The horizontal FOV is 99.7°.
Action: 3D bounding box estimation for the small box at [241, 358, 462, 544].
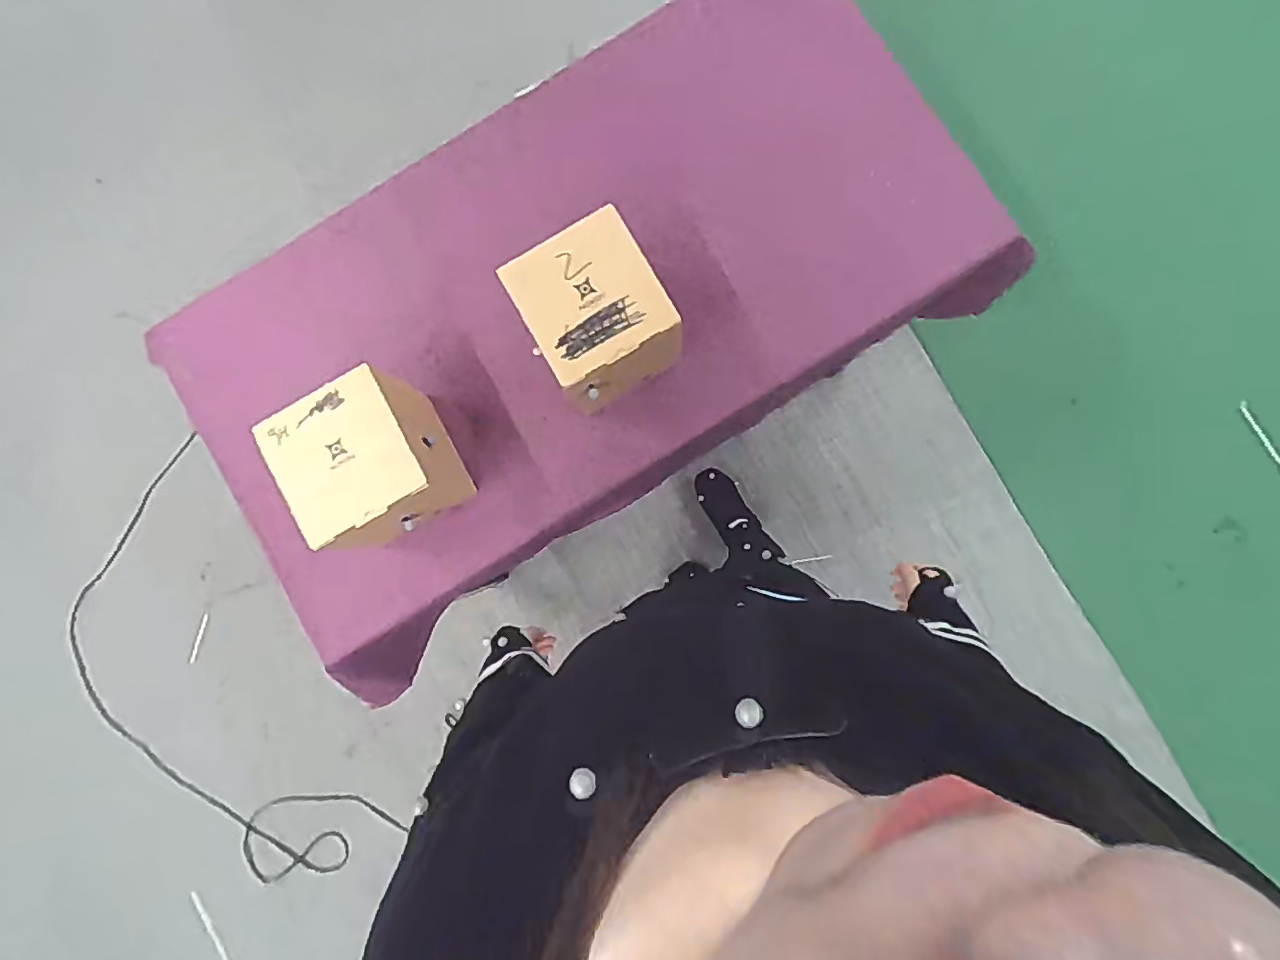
[{"bbox_3d":[-0.368,-0.033,0.727,0.168,0.176,0.179,-29,86,-1],"label":"small box"}]
